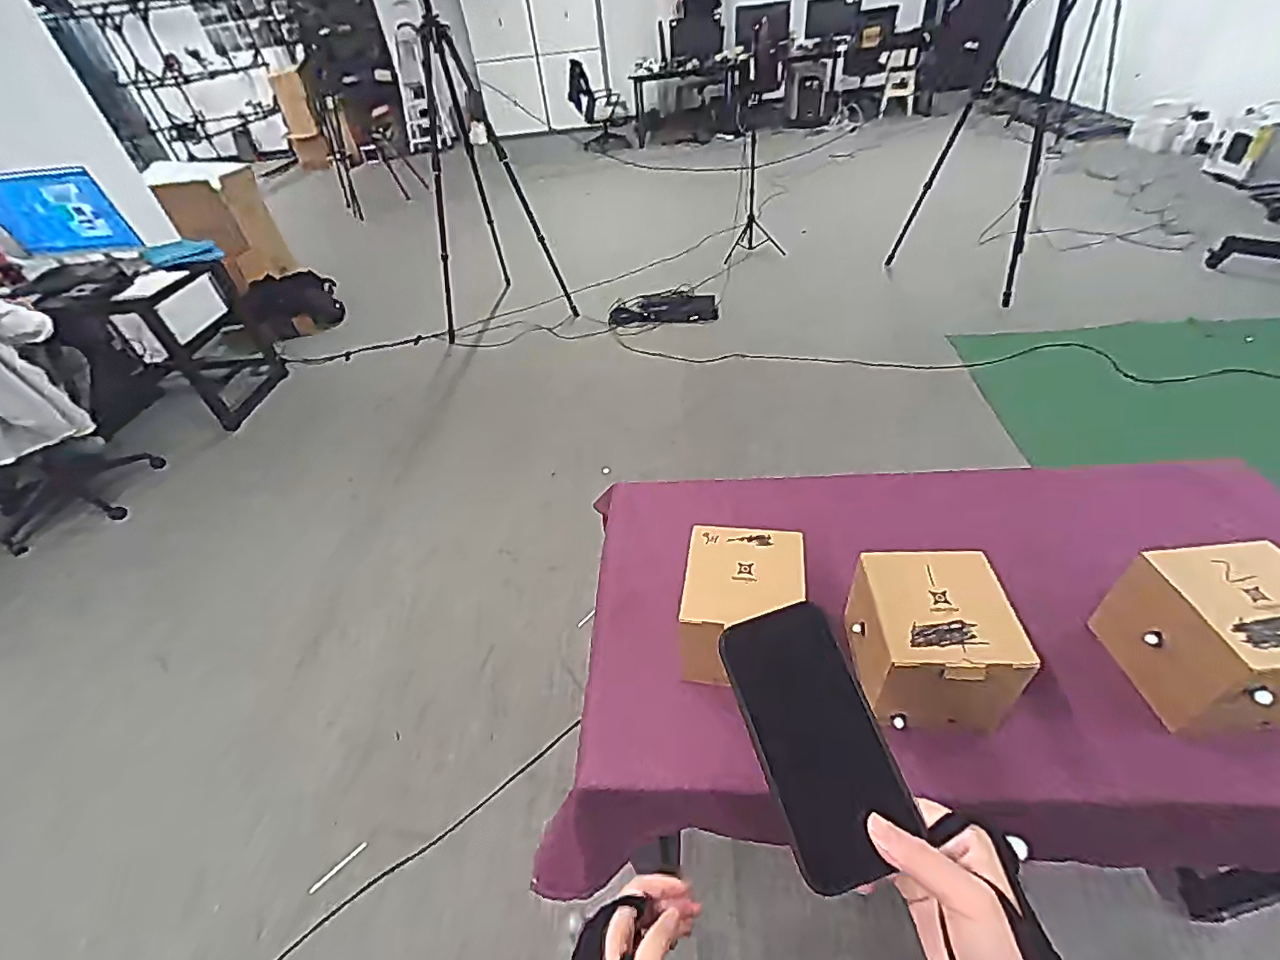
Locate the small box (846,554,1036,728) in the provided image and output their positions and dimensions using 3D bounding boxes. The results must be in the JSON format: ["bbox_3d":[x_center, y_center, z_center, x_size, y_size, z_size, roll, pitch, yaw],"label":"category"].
[{"bbox_3d":[0.393,0.223,0.745,0.168,0.176,0.179,-2,41,7],"label":"small box"}]

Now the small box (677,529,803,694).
[{"bbox_3d":[0.154,0.198,0.812,0.168,0.176,0.179,3,43,12],"label":"small box"}]
